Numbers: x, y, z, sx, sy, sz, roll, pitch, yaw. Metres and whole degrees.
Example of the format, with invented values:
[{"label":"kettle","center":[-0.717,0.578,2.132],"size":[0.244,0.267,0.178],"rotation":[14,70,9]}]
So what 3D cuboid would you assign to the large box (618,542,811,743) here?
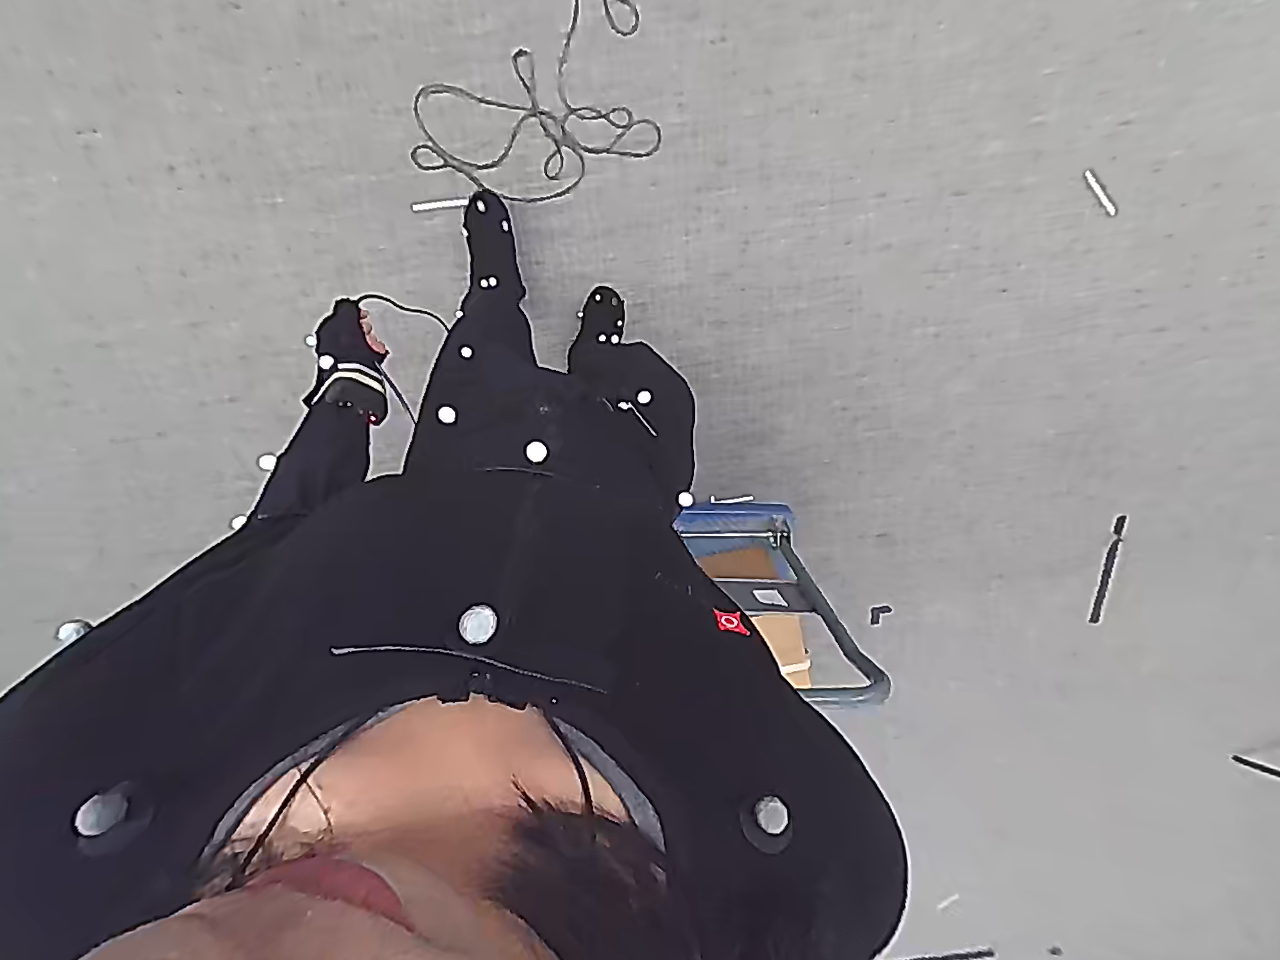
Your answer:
[{"label":"large box","center":[0.176,0.399,1.379],"size":[0.408,0.320,0.320],"rotation":[-13,110,4]}]
